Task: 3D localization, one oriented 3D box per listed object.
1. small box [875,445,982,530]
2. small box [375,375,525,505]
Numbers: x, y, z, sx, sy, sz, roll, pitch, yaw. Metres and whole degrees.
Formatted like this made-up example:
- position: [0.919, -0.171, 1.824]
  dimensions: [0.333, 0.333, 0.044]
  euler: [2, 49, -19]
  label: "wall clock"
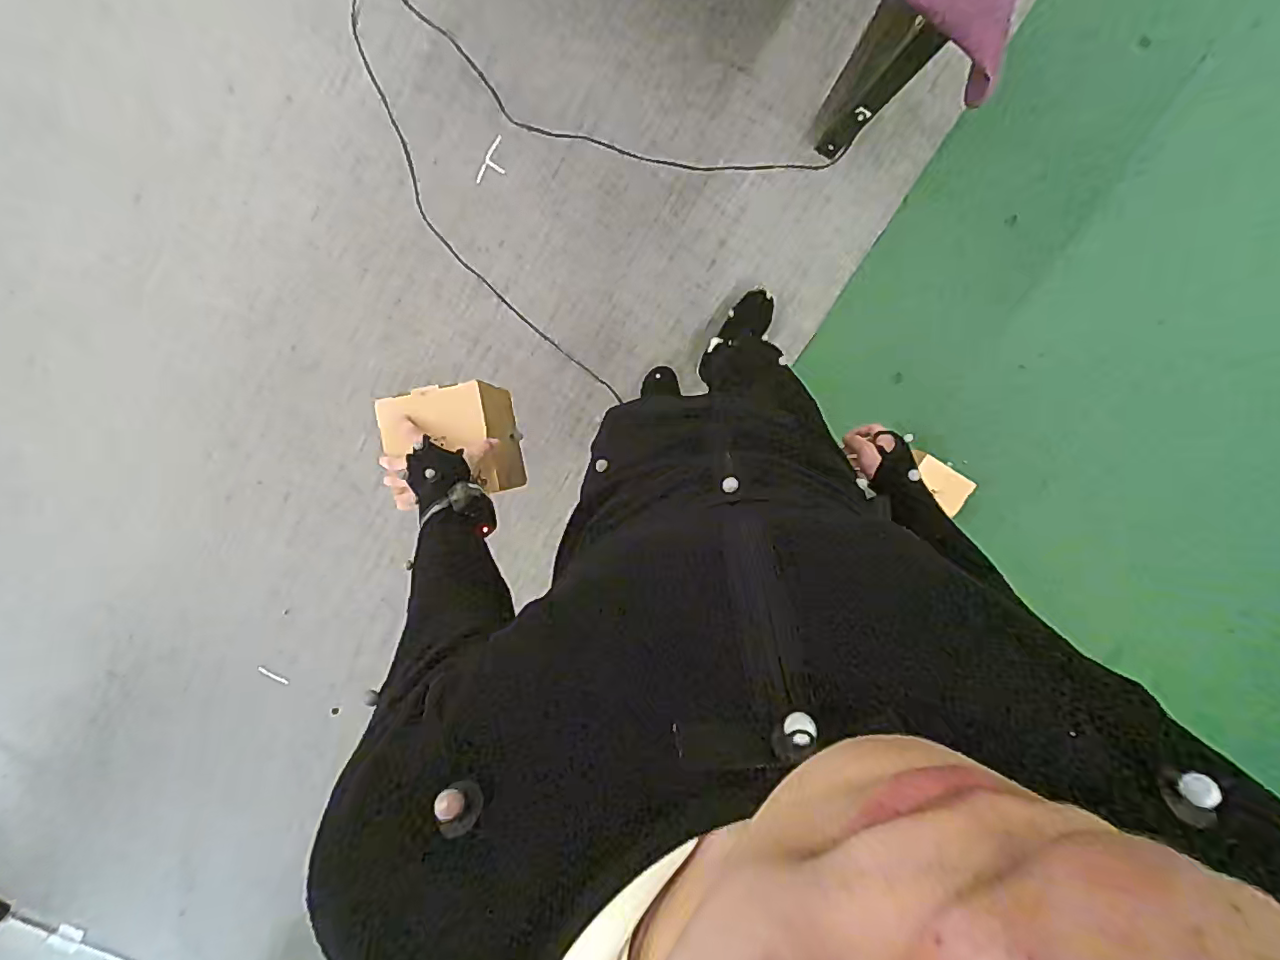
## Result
- position: [0.815, 0.012, 1.547]
  dimensions: [0.179, 0.176, 0.168]
  euler: [30, 103, -7]
  label: "small box"
- position: [-0.305, -0.062, 0.899]
  dimensions: [0.168, 0.176, 0.179]
  euler: [-11, 92, 5]
  label: "small box"
